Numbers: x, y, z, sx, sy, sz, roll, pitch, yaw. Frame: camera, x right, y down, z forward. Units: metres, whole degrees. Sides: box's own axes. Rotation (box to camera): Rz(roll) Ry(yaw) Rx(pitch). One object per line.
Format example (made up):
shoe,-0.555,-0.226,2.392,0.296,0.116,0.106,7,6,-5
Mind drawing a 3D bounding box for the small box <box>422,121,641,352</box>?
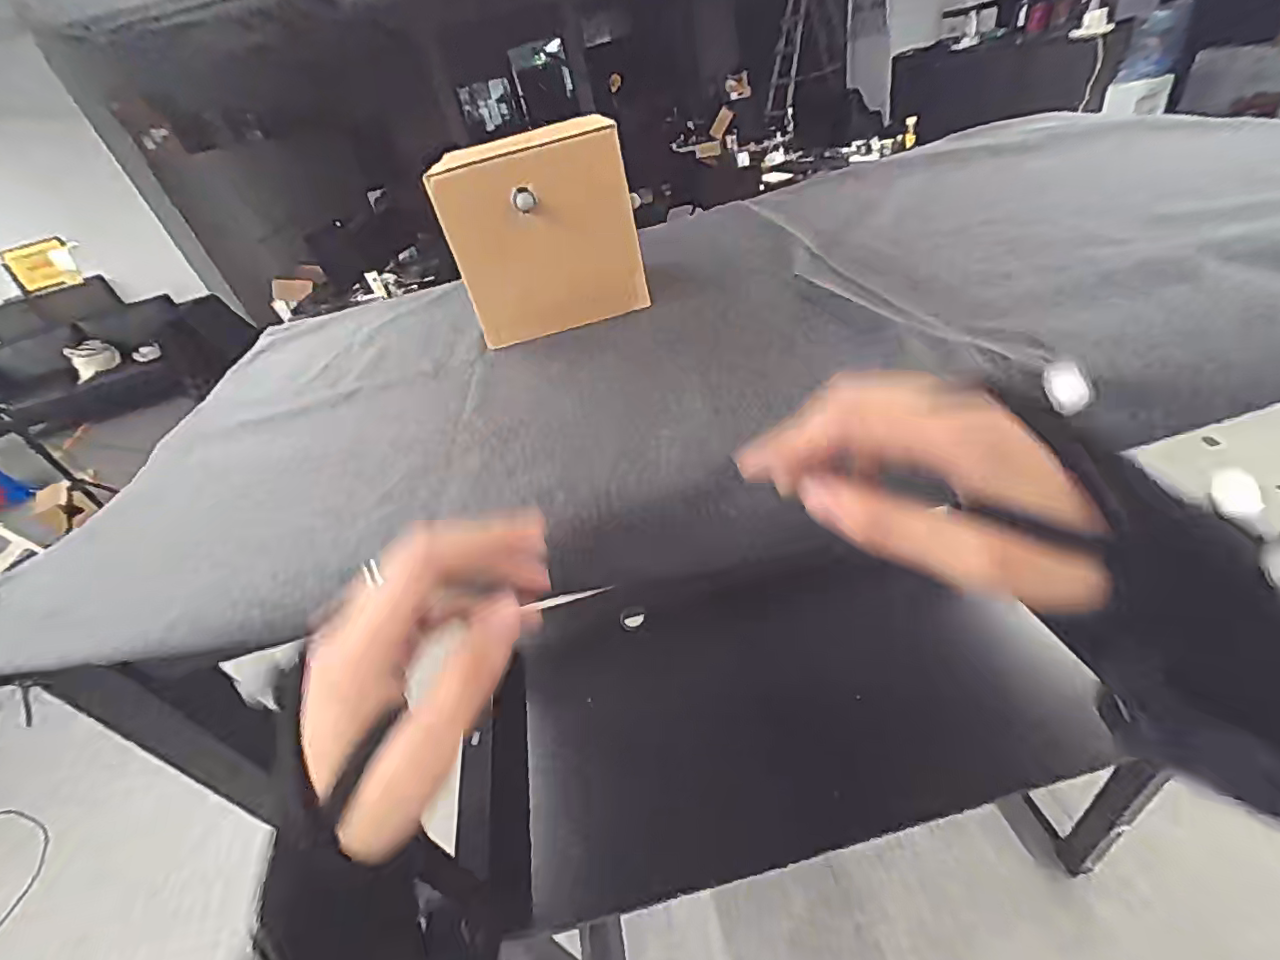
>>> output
small box,-0.103,-0.261,0.579,0.179,0.176,0.168,-16,37,0
